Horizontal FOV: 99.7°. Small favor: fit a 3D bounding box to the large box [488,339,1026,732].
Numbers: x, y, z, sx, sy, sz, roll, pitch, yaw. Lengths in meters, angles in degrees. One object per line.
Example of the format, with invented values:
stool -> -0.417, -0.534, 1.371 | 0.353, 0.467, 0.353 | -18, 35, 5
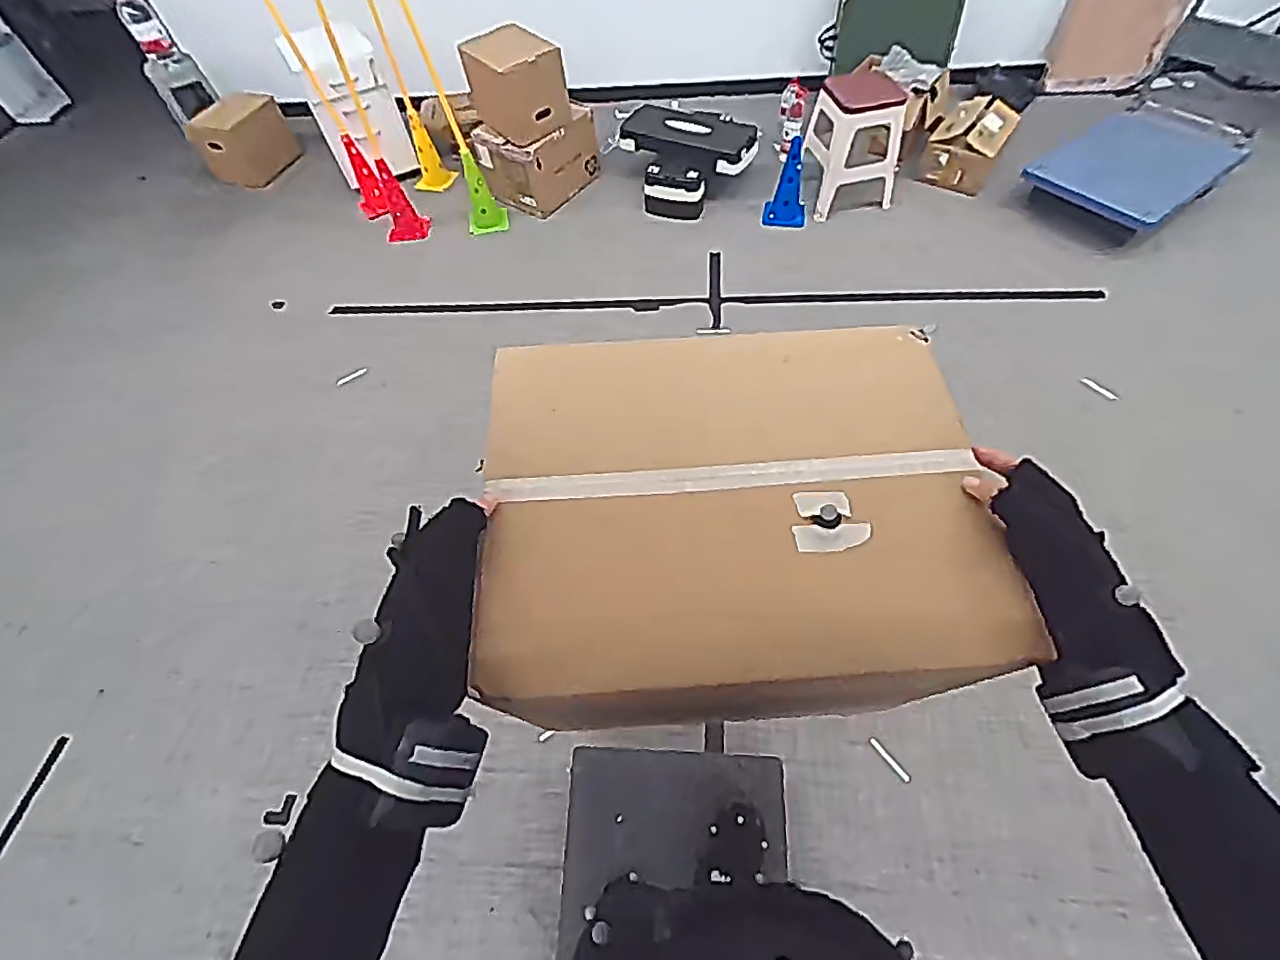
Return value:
large box -> 0.076, 0.078, 0.590 | 0.408, 0.320, 0.320 | -4, 62, -1
